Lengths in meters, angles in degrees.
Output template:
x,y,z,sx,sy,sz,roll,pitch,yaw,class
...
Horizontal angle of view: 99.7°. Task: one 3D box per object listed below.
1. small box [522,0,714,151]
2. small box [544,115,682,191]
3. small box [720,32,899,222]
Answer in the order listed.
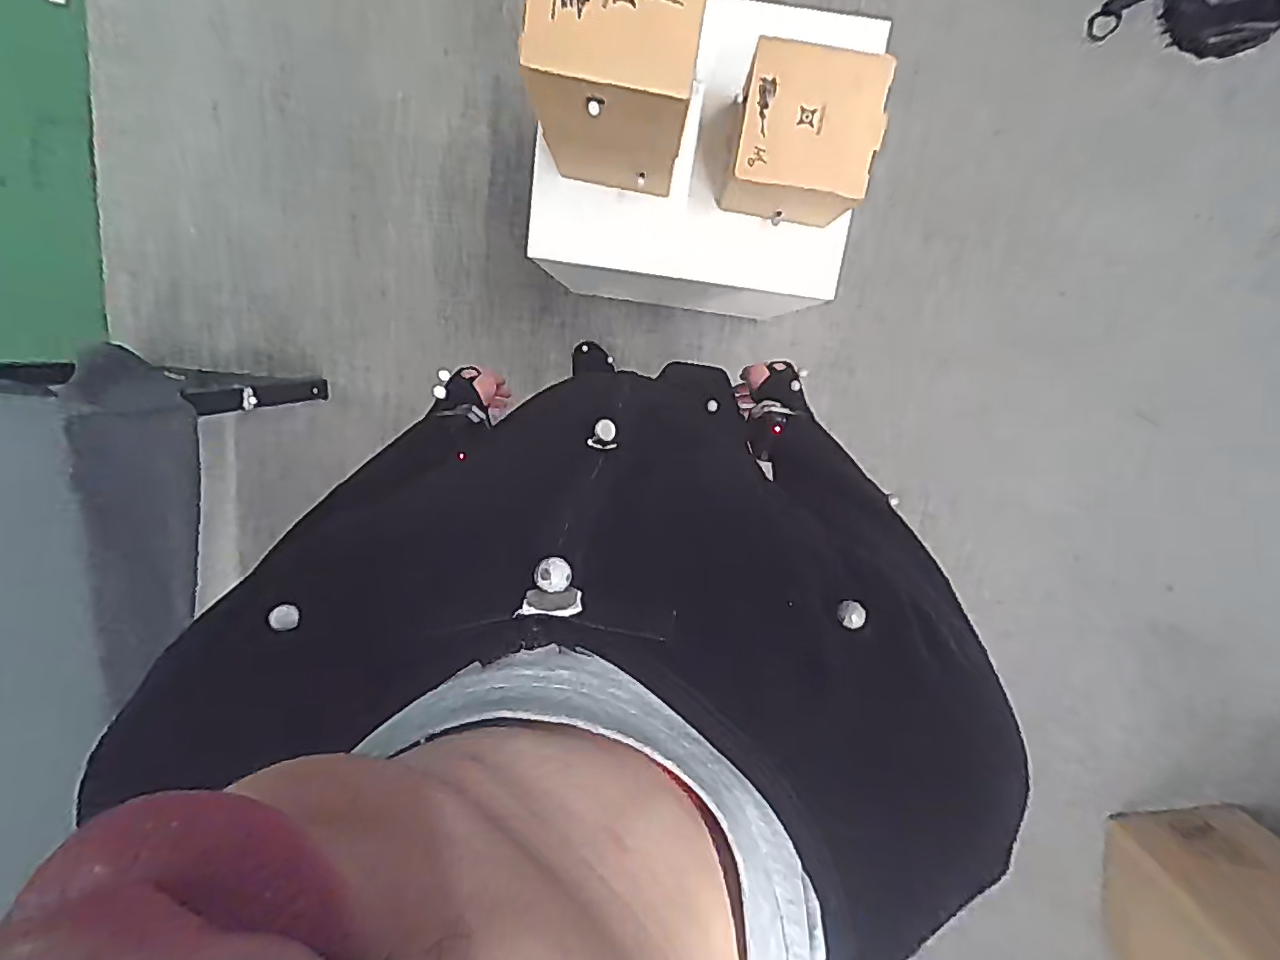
x,y,z,sx,sy,sz,roll,pitch,yaw,class
-0.017,-0.485,0.585,0.179,0.176,0.168,9,103,-4,small box
-0.024,-0.519,0.746,0.179,0.176,0.168,9,102,-2,small box
0.222,-0.475,0.757,0.179,0.176,0.168,9,104,-1,small box
